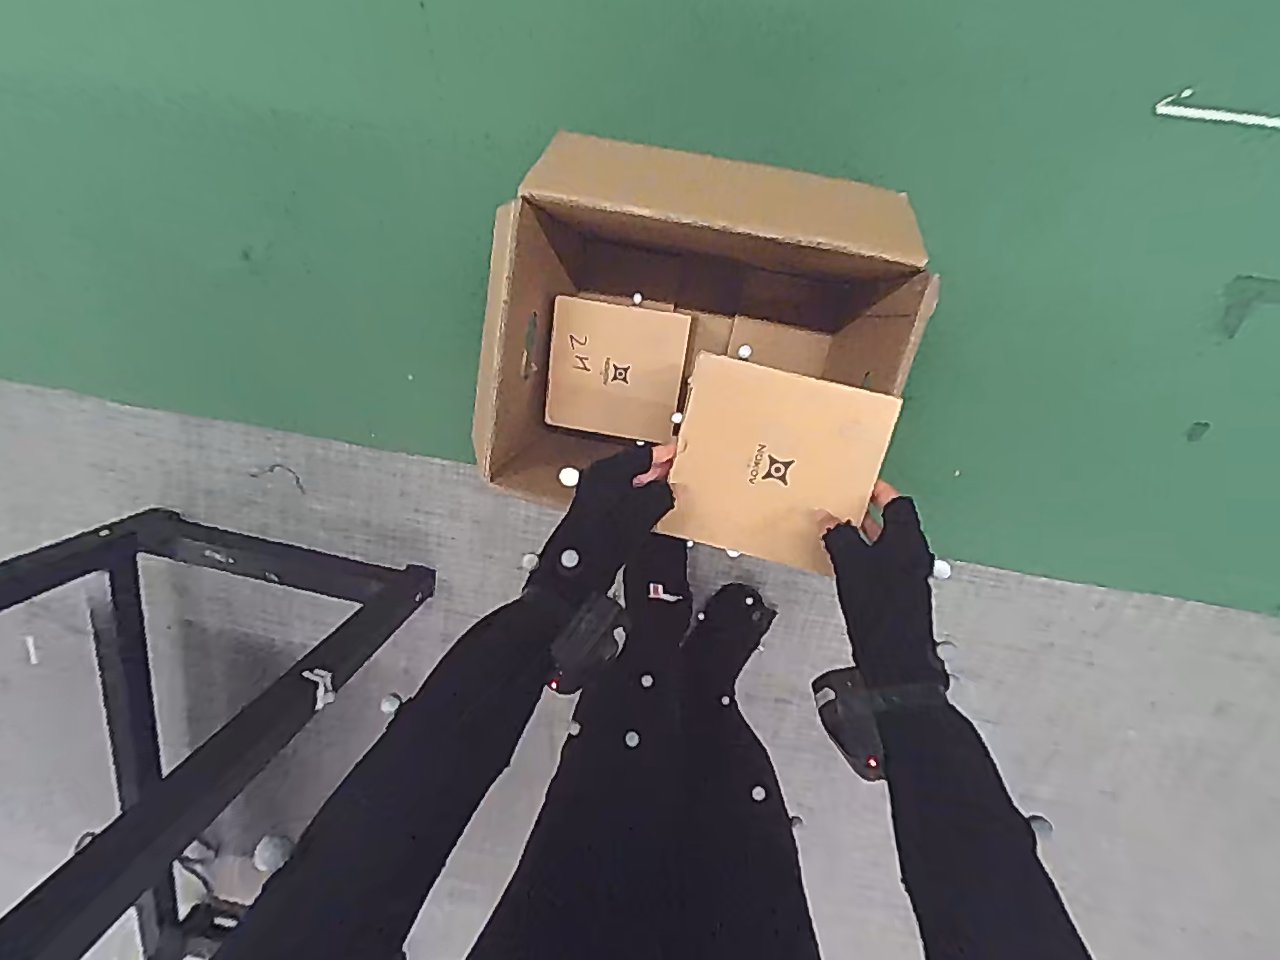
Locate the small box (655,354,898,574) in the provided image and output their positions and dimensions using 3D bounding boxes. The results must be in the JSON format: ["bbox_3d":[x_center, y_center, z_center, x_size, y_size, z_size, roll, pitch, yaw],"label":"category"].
[{"bbox_3d":[0.125,-0.028,0.551,0.179,0.176,0.168,14,103,5],"label":"small box"}]
